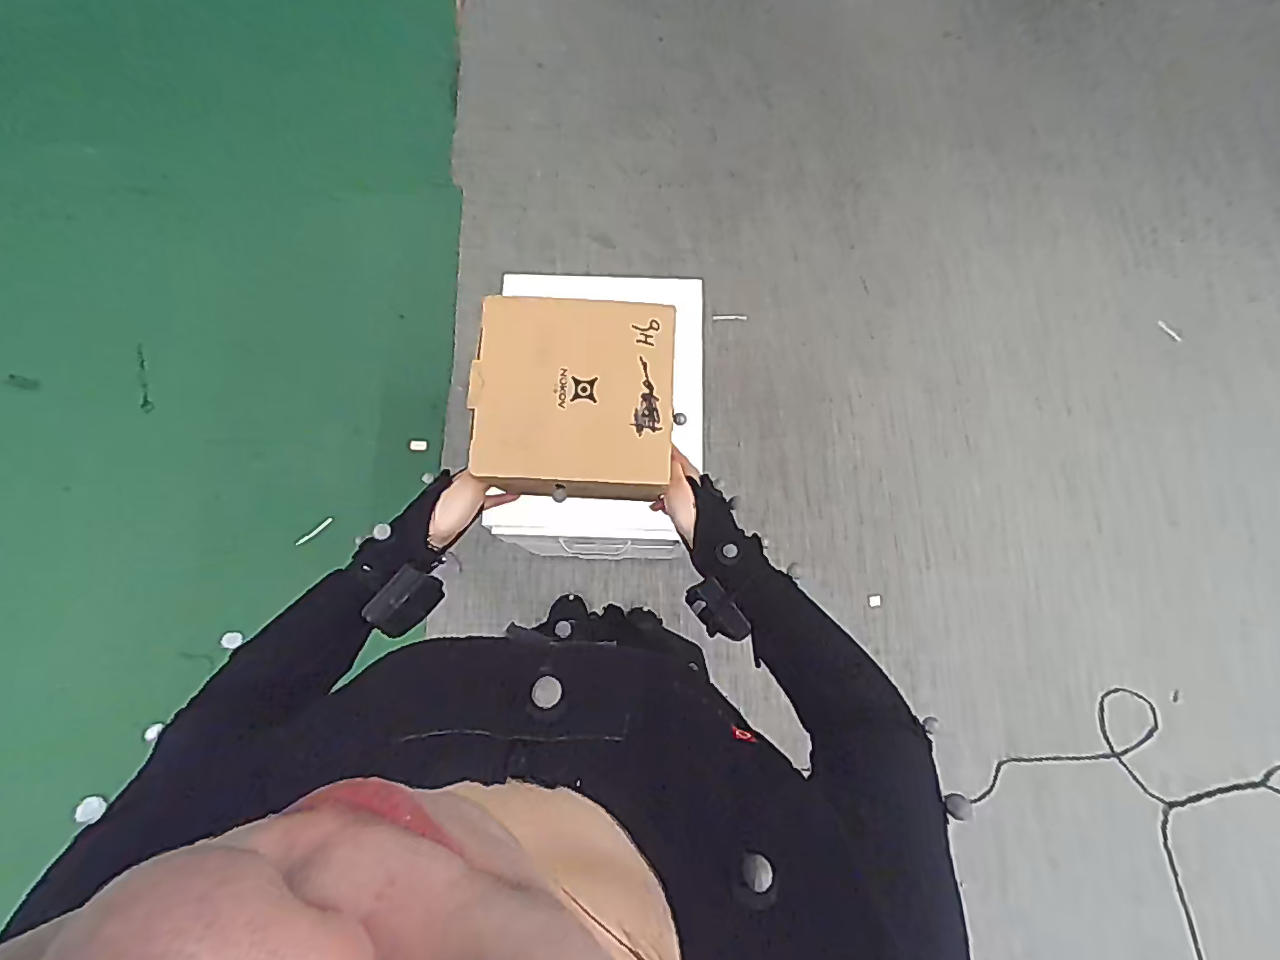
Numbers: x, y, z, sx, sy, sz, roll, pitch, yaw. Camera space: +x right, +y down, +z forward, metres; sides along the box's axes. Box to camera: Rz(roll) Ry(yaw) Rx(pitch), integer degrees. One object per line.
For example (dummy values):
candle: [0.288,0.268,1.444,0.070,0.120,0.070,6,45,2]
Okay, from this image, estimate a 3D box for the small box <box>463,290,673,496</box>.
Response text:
small box: [-0.063,-0.075,0.553,0.179,0.176,0.168,3,83,-1]
